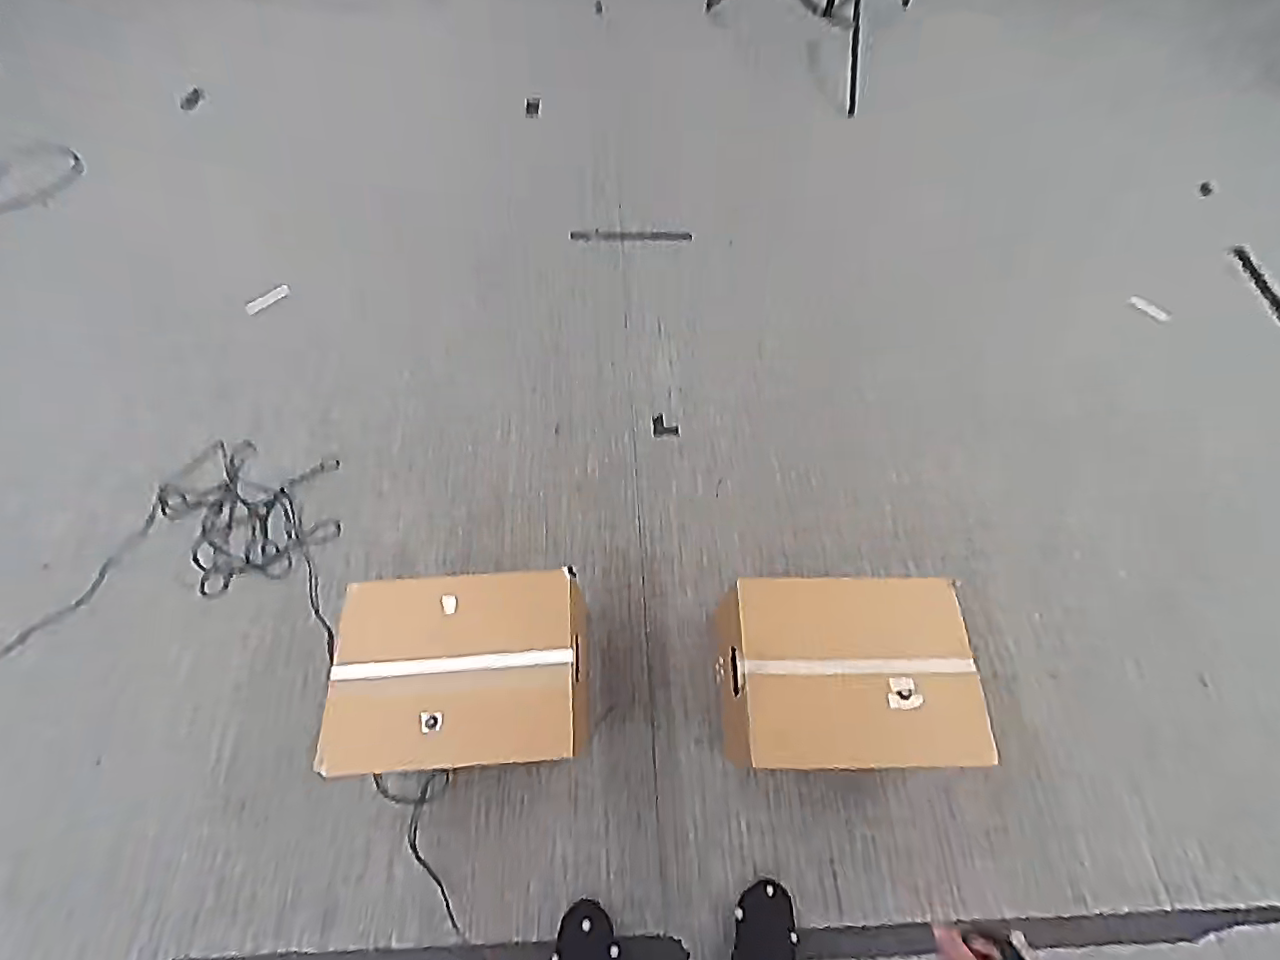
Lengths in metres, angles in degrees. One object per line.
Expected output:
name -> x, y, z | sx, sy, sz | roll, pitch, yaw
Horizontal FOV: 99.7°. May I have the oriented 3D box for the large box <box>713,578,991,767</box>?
large box -> 0.376, 0.390, 1.082 | 0.408, 0.320, 0.320 | 1, 65, -1
